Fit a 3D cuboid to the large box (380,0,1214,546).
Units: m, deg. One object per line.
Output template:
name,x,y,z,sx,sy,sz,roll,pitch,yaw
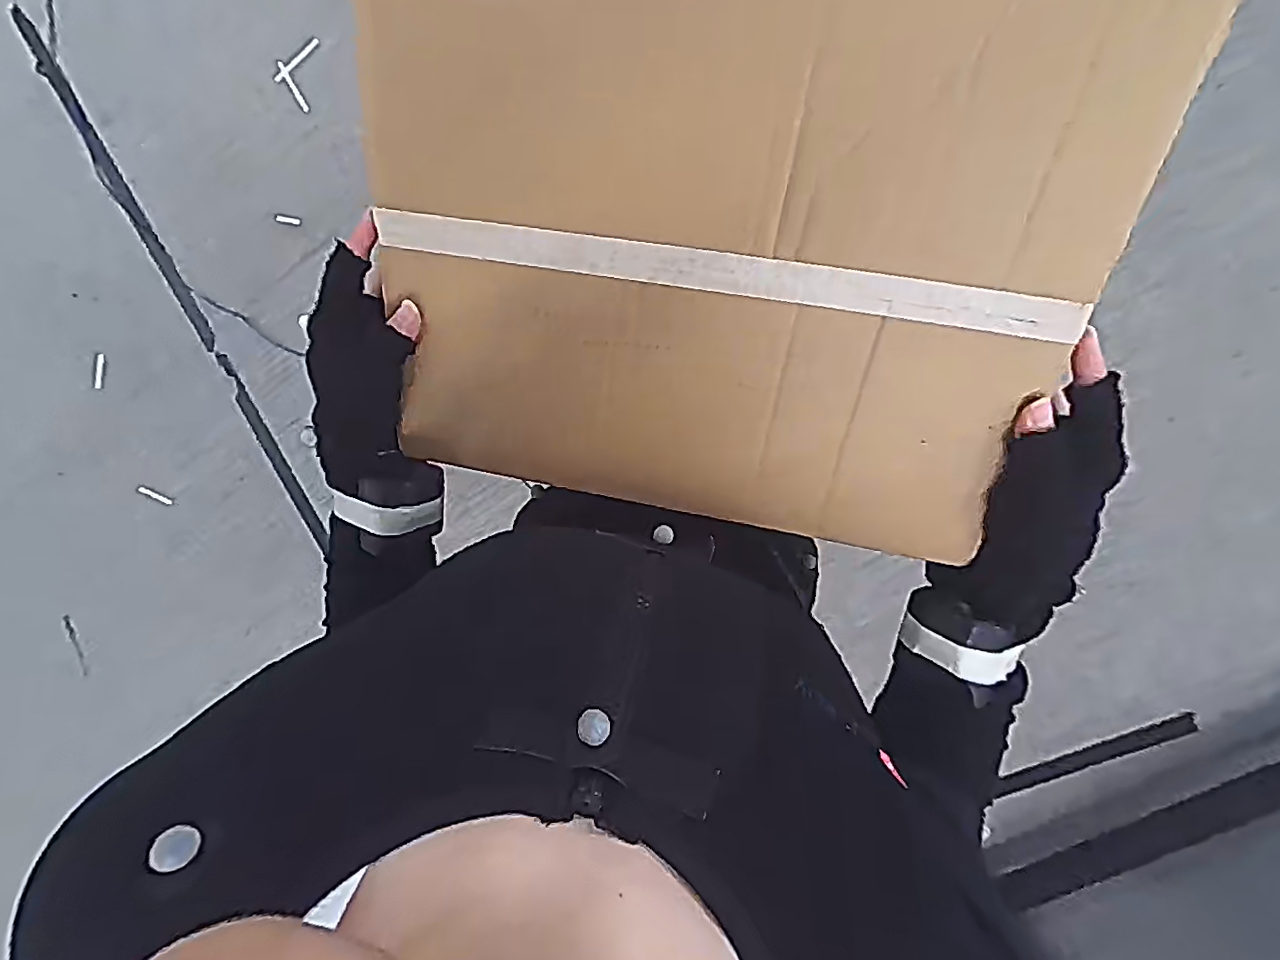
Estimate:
large box,0.066,-0.188,0.449,0.408,0.320,0.320,11,118,6
